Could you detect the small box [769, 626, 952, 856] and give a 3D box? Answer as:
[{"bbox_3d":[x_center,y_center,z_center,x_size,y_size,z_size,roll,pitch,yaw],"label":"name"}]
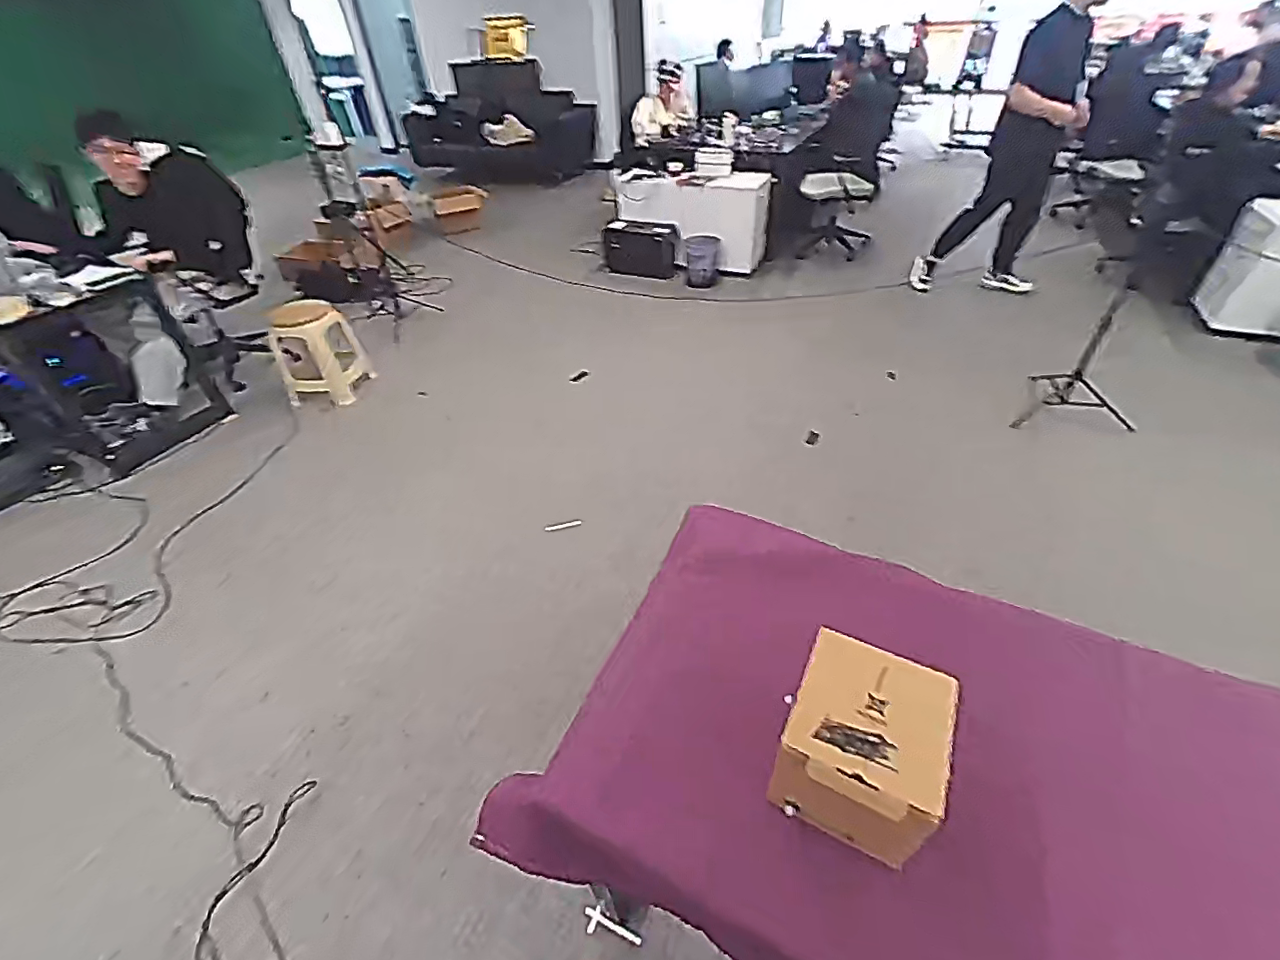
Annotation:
[{"bbox_3d":[0.269,0.327,0.682,0.168,0.176,0.179,18,45,23],"label":"small box"}]
